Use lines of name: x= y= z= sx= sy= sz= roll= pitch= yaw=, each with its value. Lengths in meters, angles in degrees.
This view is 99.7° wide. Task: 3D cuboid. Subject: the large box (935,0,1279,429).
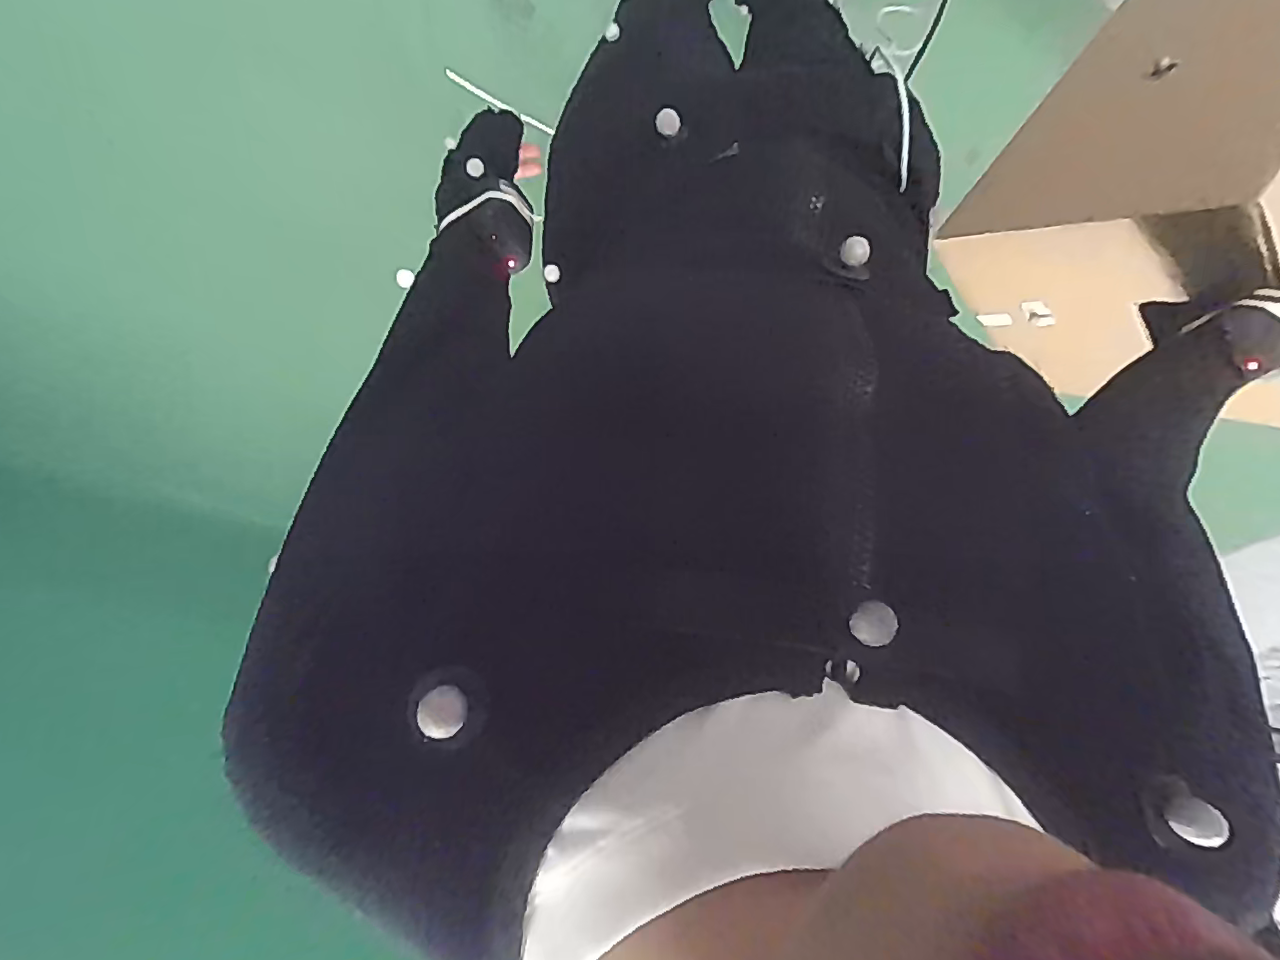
large box: x=0.654 y=-0.326 z=0.636 sx=0.320 sy=0.320 sz=0.408 roll=38 pitch=90 yaw=-27
